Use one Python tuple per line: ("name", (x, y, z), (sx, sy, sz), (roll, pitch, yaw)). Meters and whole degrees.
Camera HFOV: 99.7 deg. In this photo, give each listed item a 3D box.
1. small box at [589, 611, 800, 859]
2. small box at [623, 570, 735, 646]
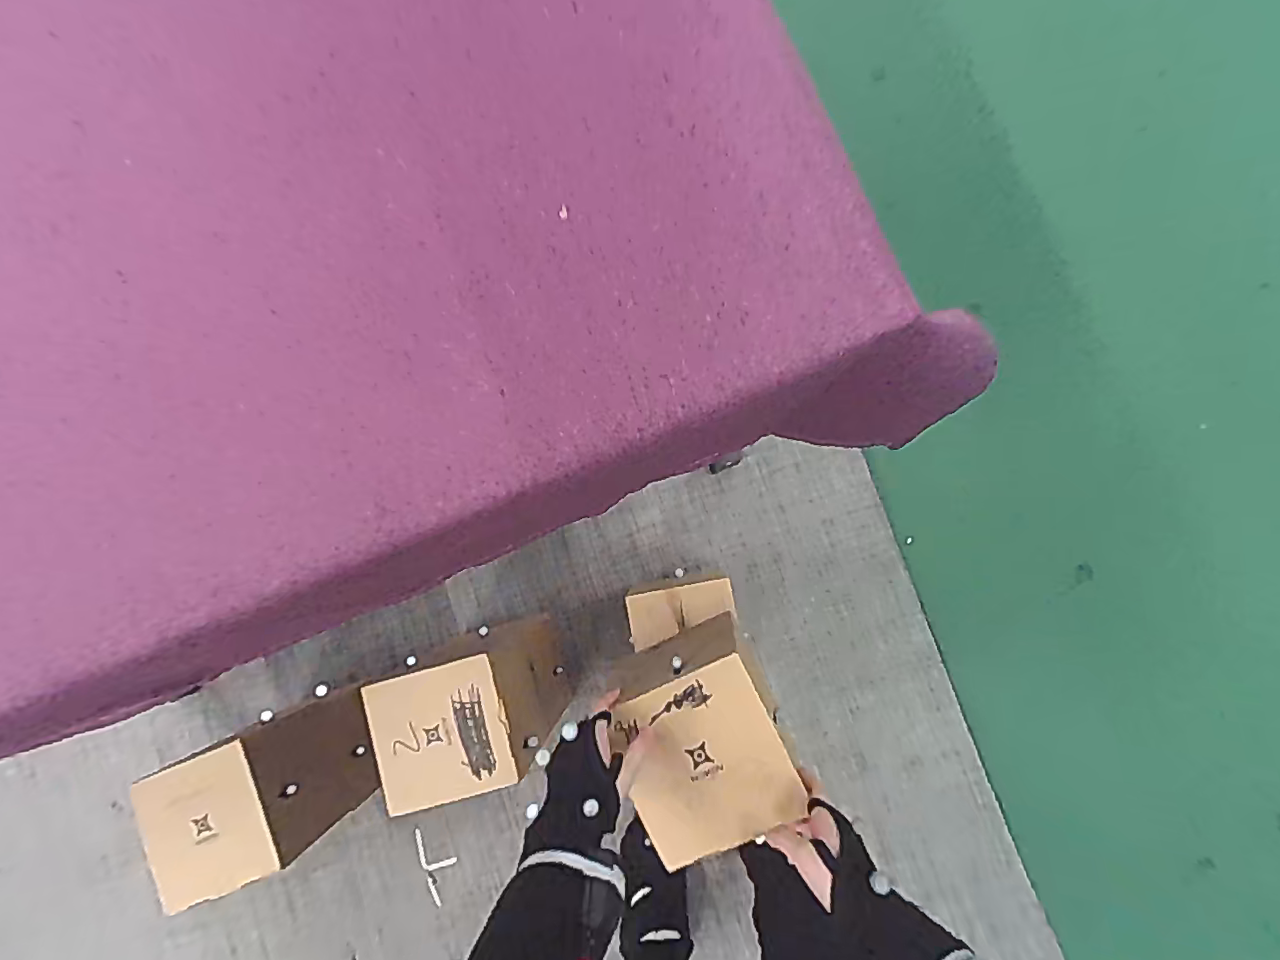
("small box", (0.065, 0.279, 0.630), (0.168, 0.176, 0.179), (-26, 87, 7))
("small box", (0.074, 0.256, 0.905), (0.168, 0.176, 0.179), (-11, 84, 3))
